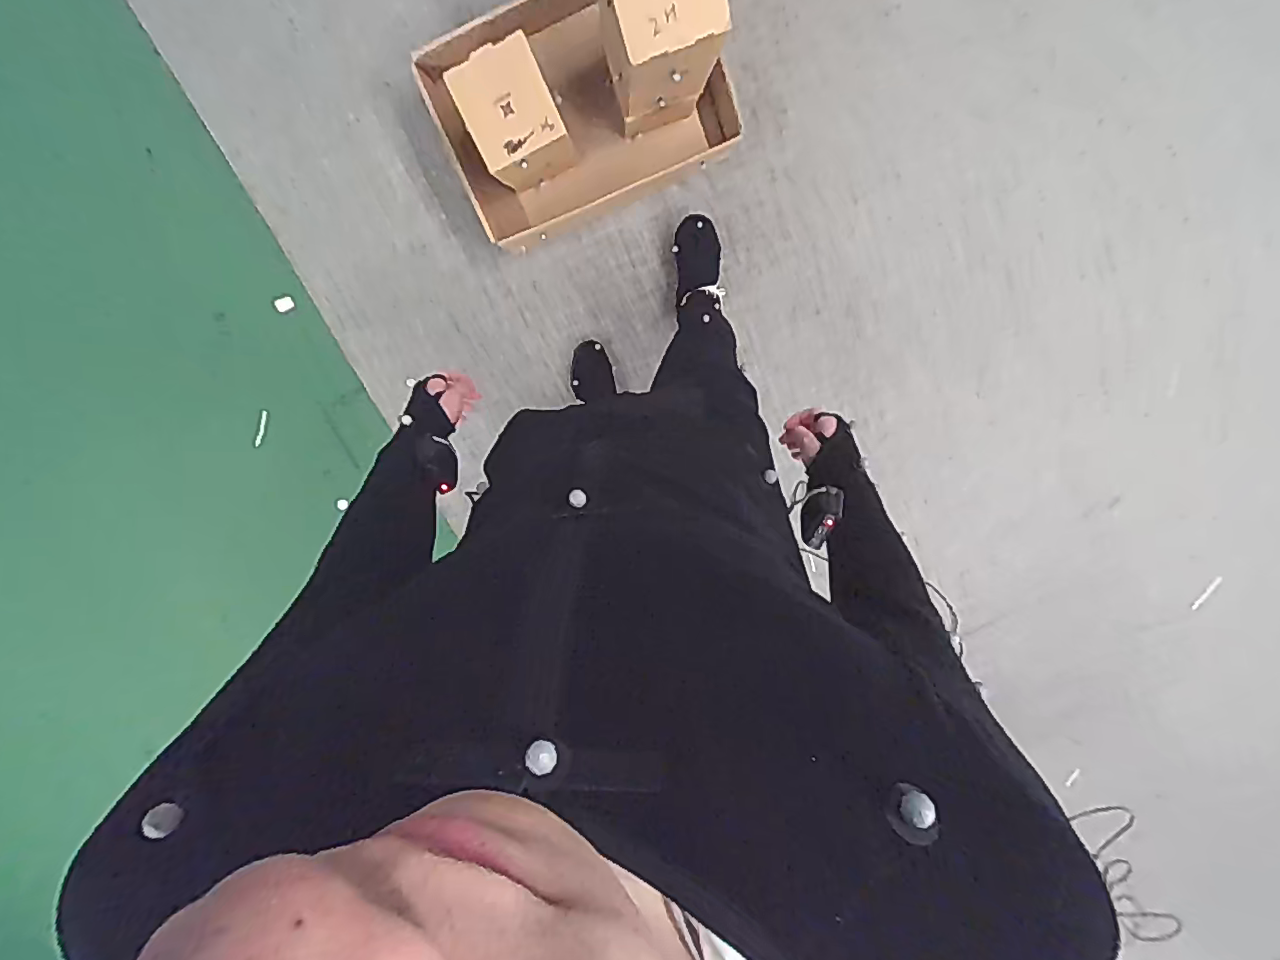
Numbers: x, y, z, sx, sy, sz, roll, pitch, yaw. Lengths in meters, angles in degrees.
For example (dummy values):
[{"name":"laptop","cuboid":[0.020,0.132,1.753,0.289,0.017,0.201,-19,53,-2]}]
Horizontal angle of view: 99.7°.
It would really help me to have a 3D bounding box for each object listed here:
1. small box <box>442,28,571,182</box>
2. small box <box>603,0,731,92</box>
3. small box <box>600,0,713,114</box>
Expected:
[{"name":"small box","cuboid":[-0.248,-0.713,1.052,0.168,0.176,0.179,-23,110,8]},{"name":"small box","cuboid":[0.033,-0.767,0.865,0.168,0.176,0.179,-17,112,5]},{"name":"small box","cuboid":[0.026,-0.831,1.018,0.168,0.176,0.179,-18,113,4]}]
